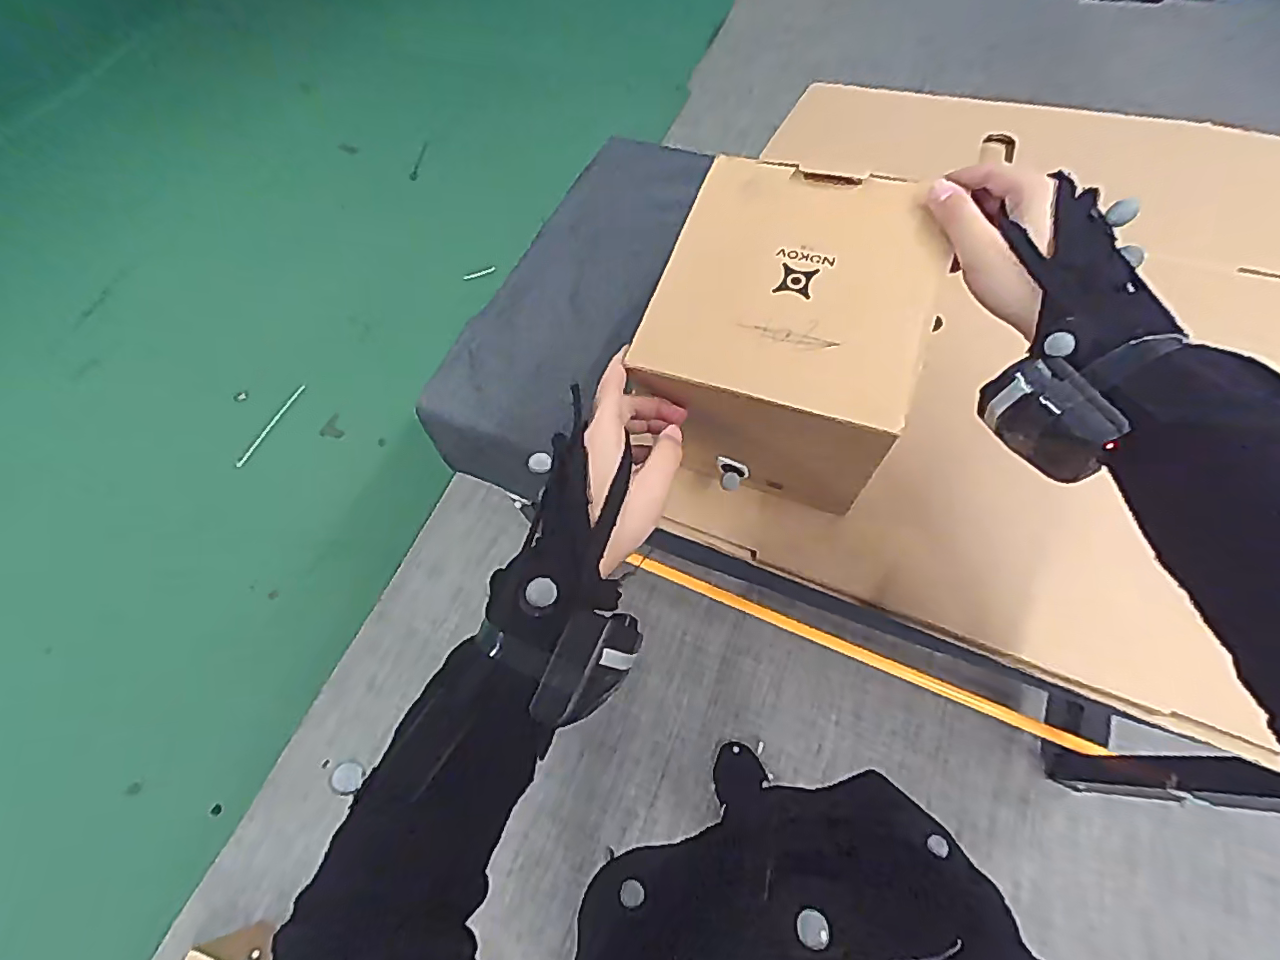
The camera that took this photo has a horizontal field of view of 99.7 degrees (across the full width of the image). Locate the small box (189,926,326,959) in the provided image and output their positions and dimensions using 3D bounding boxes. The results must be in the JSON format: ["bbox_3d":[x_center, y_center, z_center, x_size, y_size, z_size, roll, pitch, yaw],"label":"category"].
[{"bbox_3d":[-0.724,0.957,0.987,0.179,0.176,0.168,10,65,13],"label":"small box"}]

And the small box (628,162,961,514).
[{"bbox_3d":[0.109,-0.096,0.411,0.168,0.176,0.179,18,75,17],"label":"small box"}]
